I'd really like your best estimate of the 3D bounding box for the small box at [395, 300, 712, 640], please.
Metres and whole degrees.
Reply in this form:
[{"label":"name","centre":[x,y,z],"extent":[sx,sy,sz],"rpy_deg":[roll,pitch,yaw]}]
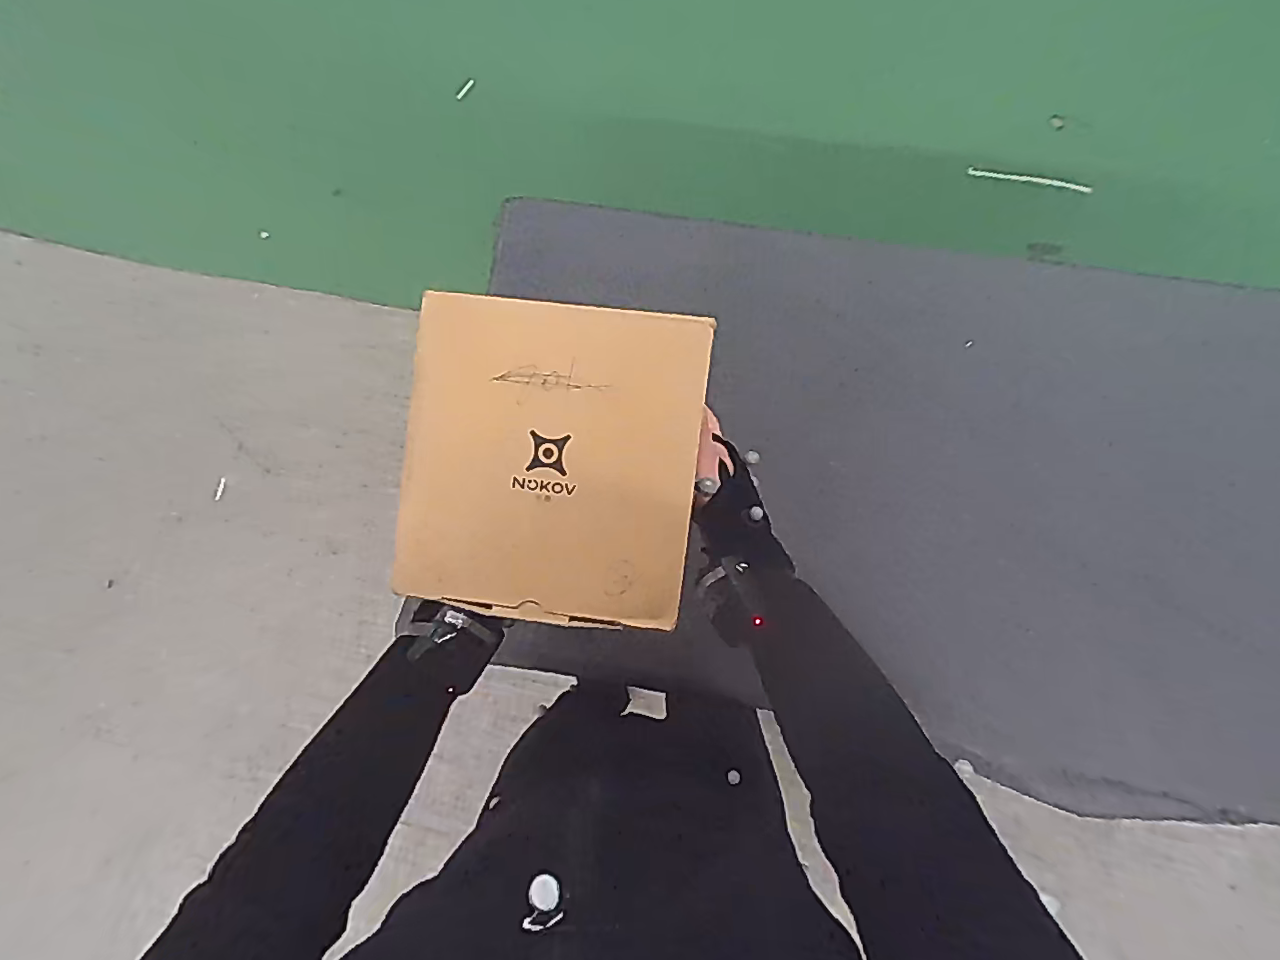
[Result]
[{"label":"small box","centre":[-0.044,-0.007,0.379],"extent":[0.168,0.176,0.179],"rpy_deg":[6,90,4]}]
